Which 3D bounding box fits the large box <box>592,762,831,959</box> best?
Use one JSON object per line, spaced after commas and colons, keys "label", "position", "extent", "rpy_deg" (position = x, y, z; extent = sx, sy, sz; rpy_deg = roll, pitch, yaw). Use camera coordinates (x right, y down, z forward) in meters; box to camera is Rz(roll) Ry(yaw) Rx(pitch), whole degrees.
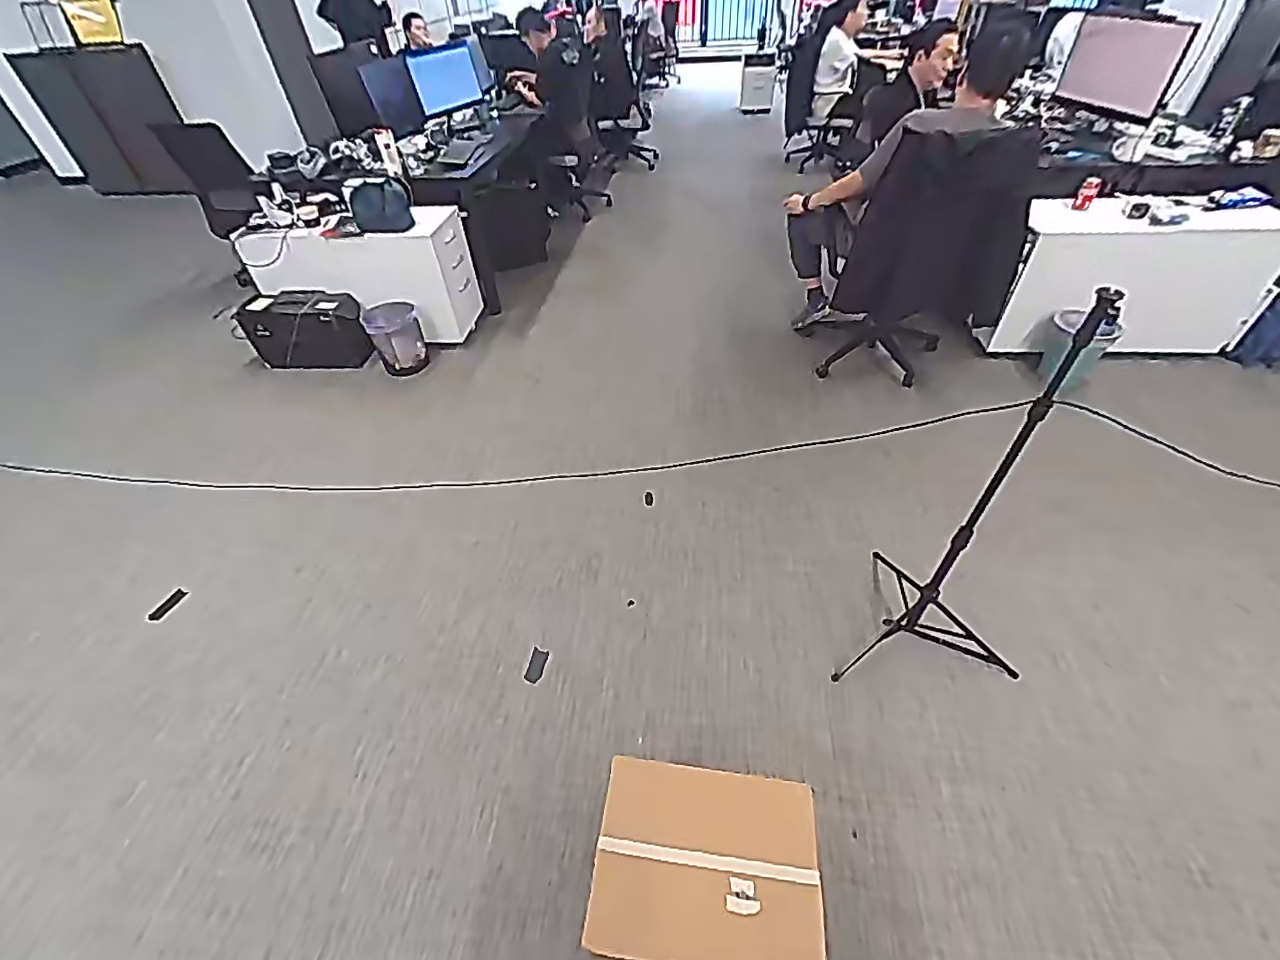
{"label": "large box", "position": [0.138, 0.812, 1.093], "extent": [0.408, 0.320, 0.320], "rpy_deg": [5, 45, 8]}
